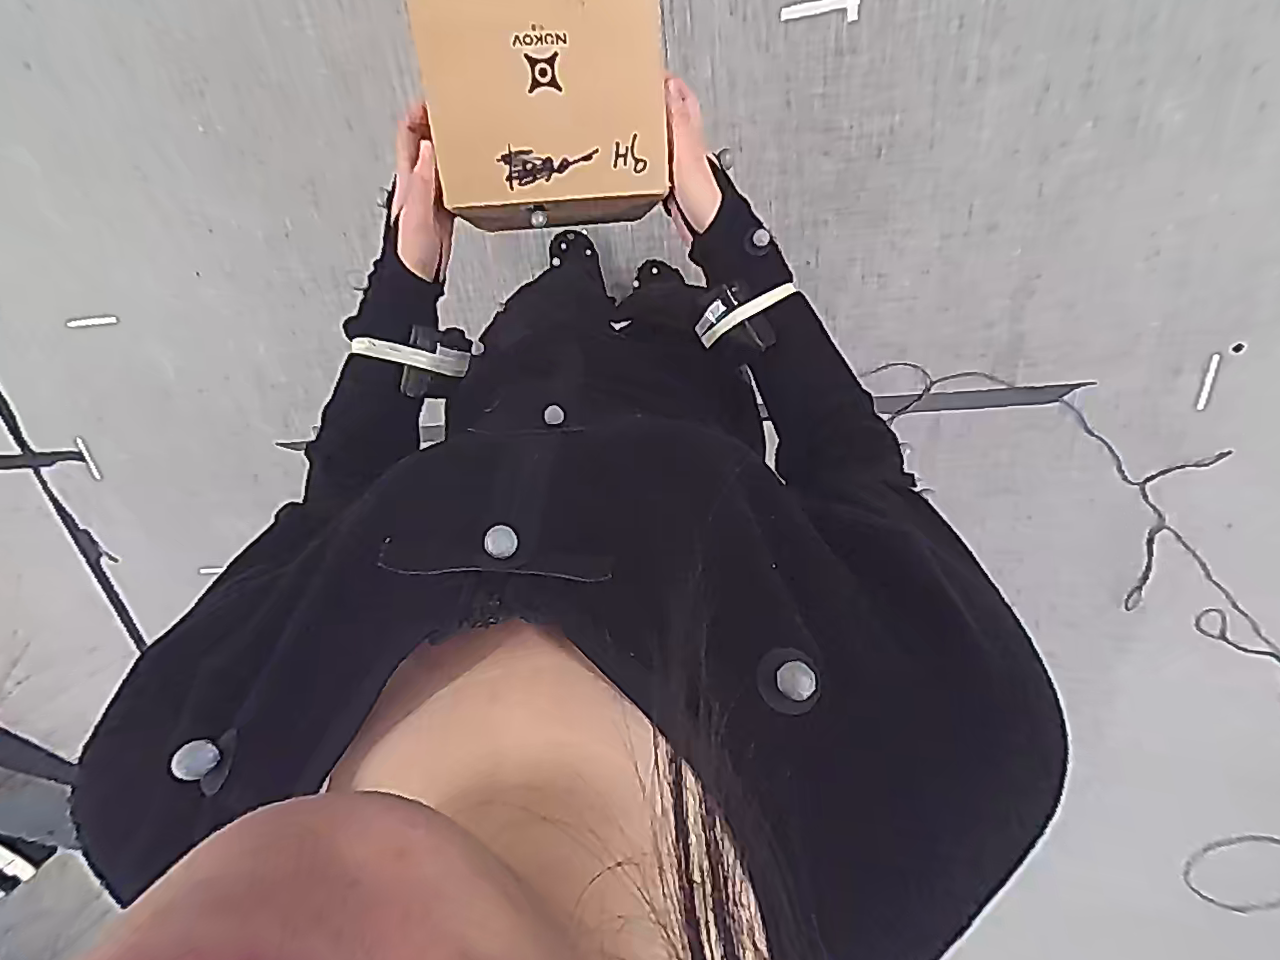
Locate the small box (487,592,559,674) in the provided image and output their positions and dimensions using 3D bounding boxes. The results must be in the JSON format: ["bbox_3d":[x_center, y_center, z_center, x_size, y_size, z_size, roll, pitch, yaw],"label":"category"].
[{"bbox_3d":[-0.363,0.474,1.695,0.179,0.176,0.168,11,112,-2],"label":"small box"}]

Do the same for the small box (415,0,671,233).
[{"bbox_3d":[-0.073,-0.309,0.439,0.168,0.176,0.179,-6,110,-6],"label":"small box"}]
